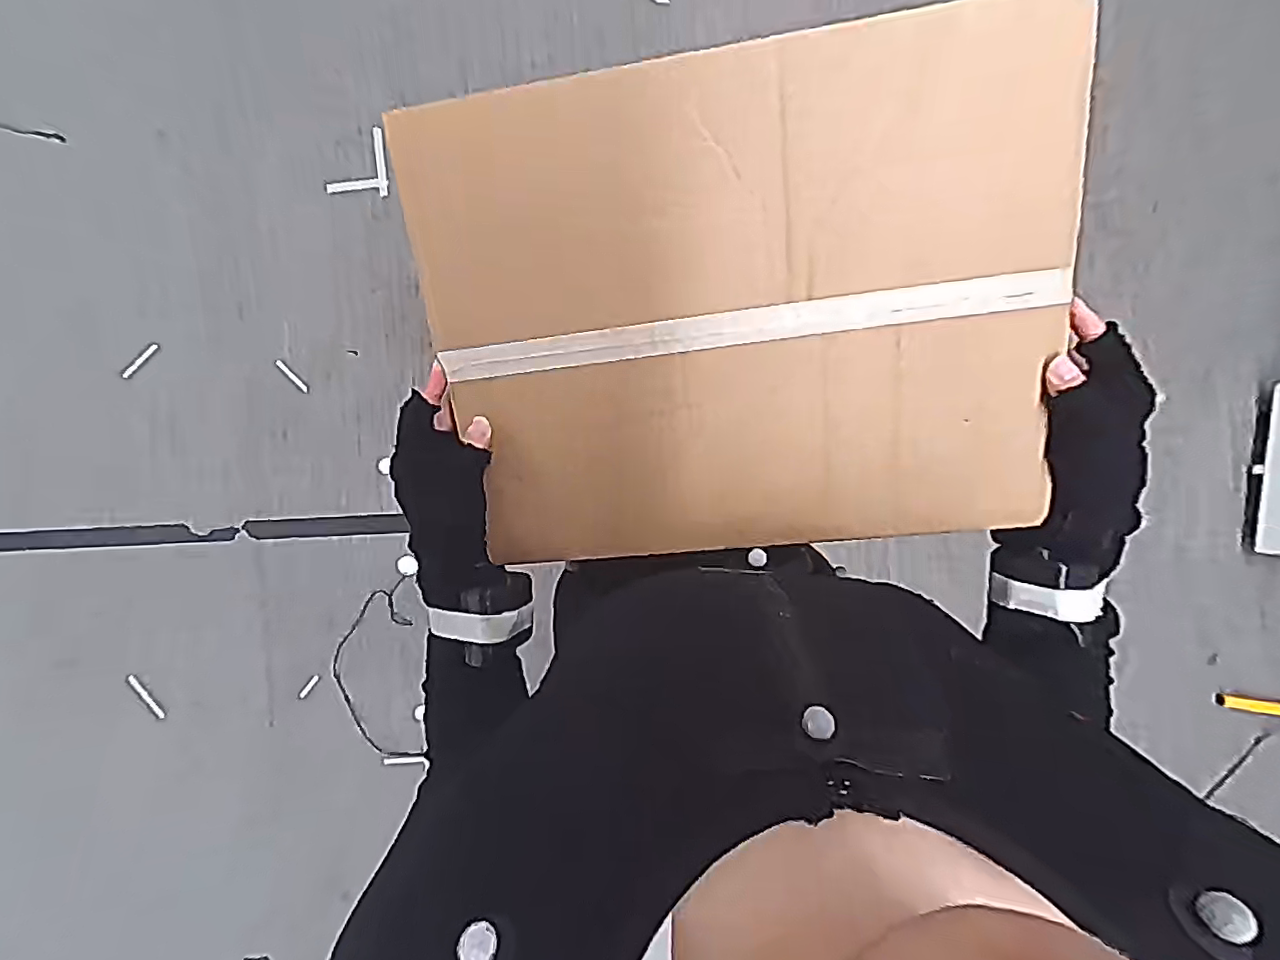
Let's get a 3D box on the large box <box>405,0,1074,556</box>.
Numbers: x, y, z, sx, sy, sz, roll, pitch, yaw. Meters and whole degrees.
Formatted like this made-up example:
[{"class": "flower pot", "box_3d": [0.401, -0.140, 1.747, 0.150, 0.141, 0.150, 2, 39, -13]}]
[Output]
[{"class": "large box", "box_3d": [0.075, -0.148, 0.504, 0.408, 0.320, 0.320, -5, 108, 7]}]
